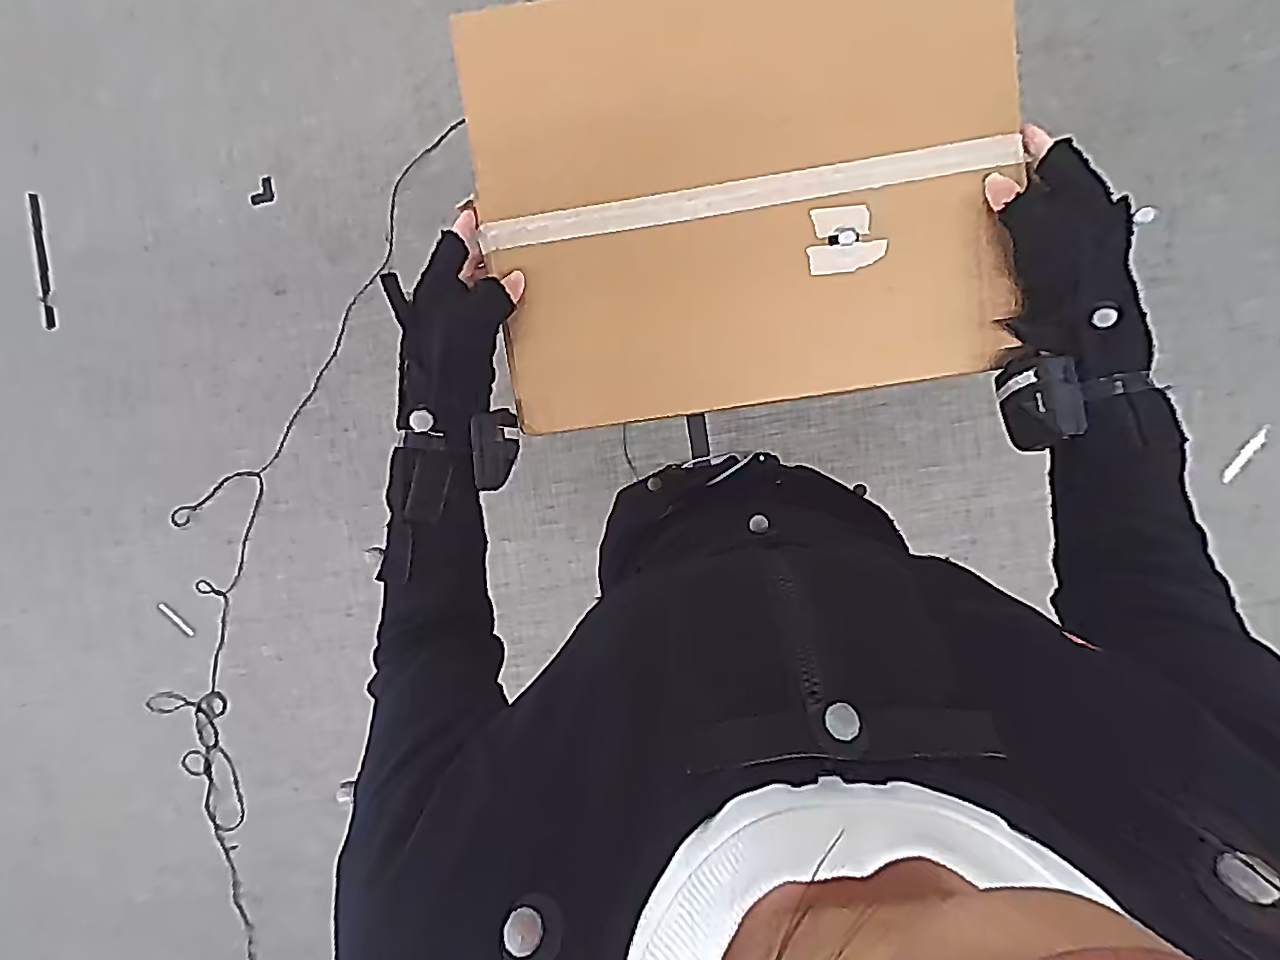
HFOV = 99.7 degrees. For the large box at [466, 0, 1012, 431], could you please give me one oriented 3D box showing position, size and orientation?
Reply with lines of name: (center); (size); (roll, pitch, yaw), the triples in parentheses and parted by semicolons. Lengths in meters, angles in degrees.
large box: (0.084, -0.238, 0.573); (0.408, 0.320, 0.320); (-8, 98, 2)
